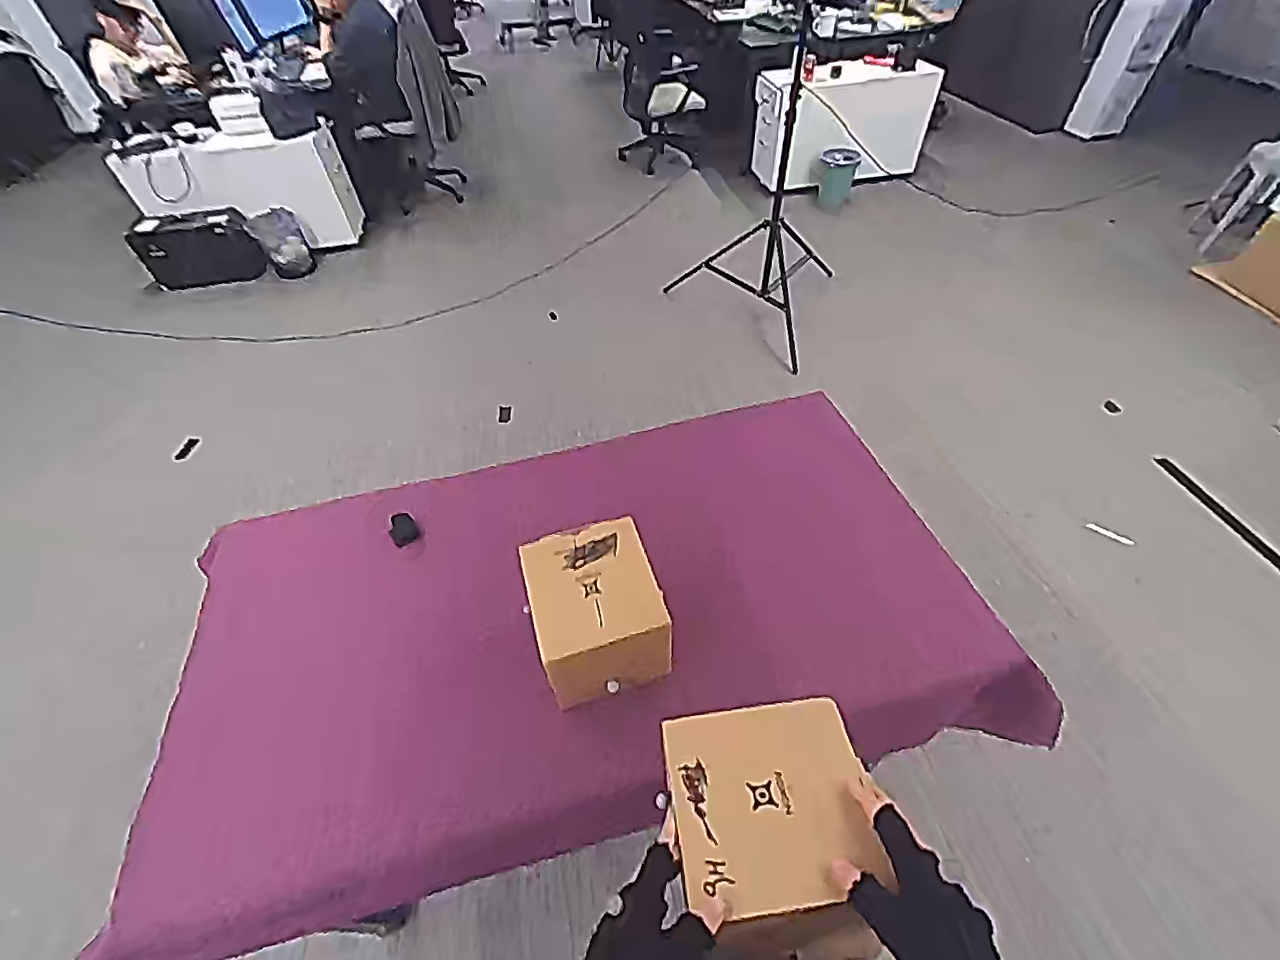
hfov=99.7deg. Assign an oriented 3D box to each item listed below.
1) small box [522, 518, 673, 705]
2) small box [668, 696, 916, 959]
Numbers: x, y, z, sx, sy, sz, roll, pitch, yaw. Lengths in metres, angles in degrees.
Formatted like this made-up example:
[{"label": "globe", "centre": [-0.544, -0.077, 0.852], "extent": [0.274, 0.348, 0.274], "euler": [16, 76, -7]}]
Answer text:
[{"label": "small box", "centre": [-0.060, 0.187, 0.765], "extent": [0.168, 0.176, 0.179], "euler": [-15, 50, -9]}, {"label": "small box", "centre": [0.122, 0.335, 0.518], "extent": [0.179, 0.176, 0.168], "euler": [-6, 36, -3]}]
